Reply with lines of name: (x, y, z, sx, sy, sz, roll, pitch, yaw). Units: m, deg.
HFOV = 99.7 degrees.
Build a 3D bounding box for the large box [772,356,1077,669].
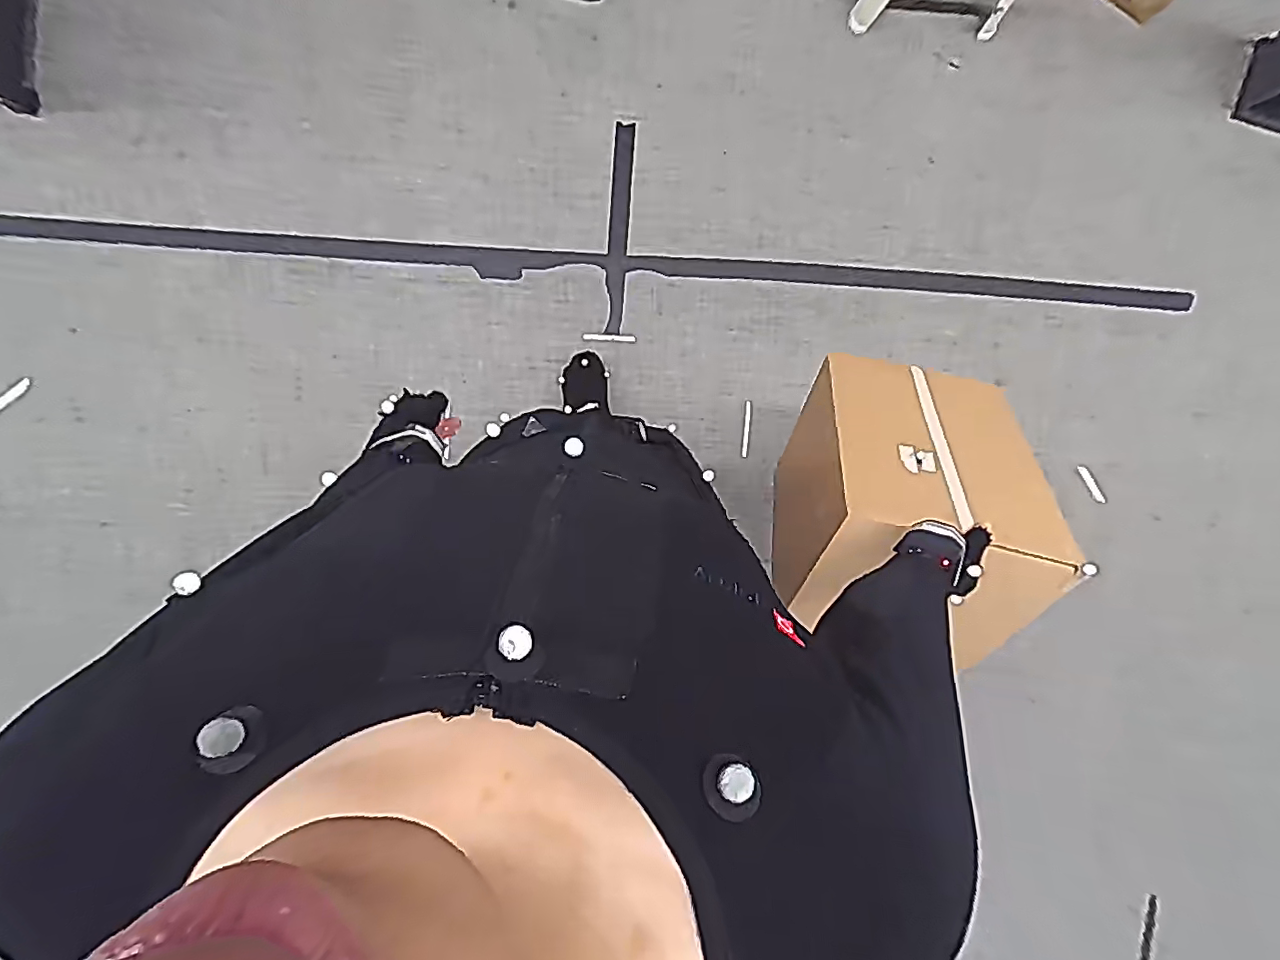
large box: (0.430, 0.049, 0.945, 0.320, 0.408, 0.320, 13, 136, 1)
